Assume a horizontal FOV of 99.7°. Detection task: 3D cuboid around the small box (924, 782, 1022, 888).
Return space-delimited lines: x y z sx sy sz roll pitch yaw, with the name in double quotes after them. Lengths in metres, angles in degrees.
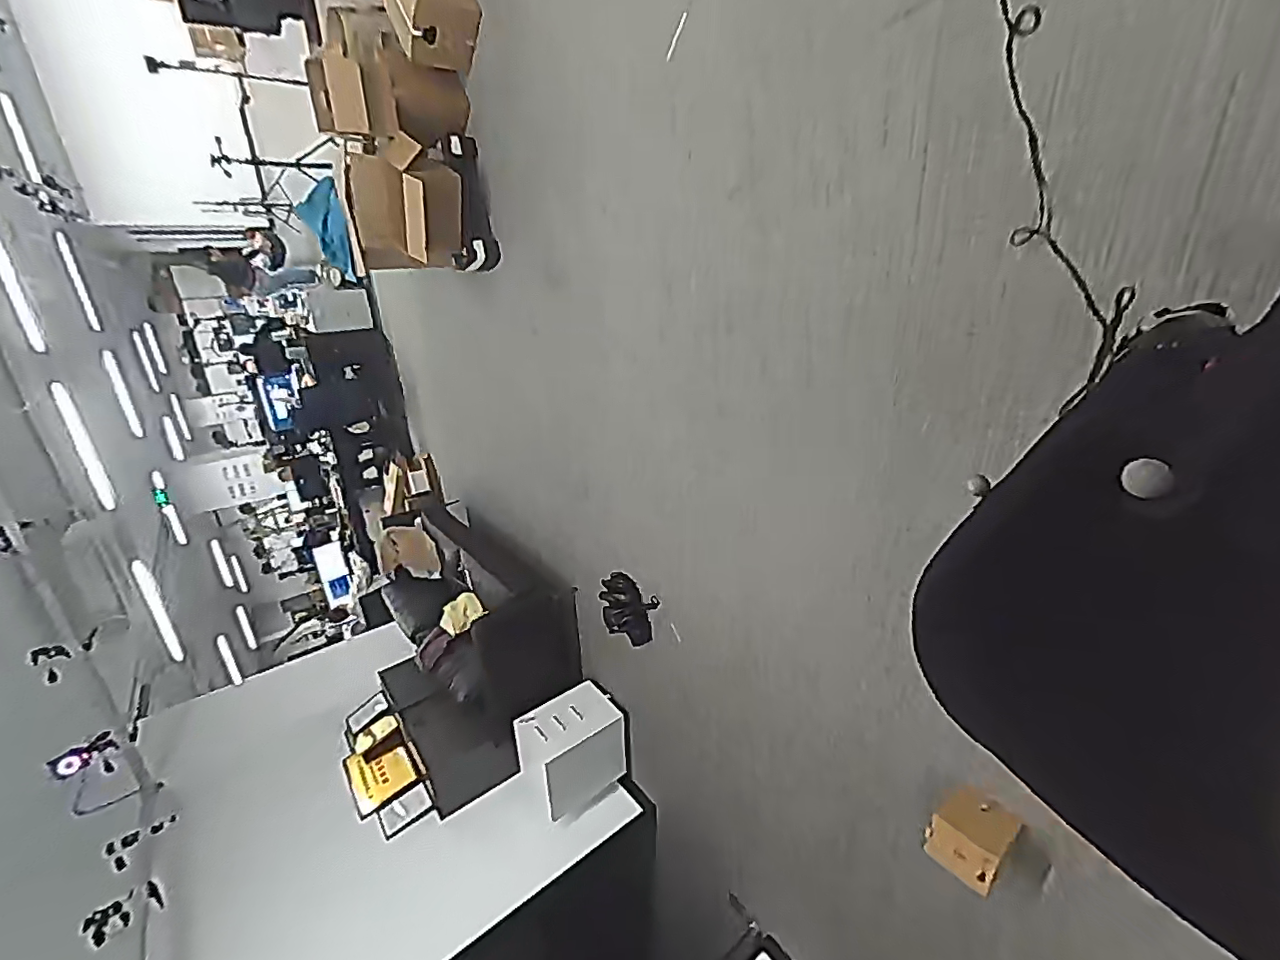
0.978 1.029 1.591 0.179 0.176 0.168 28 127 47 "small box"
